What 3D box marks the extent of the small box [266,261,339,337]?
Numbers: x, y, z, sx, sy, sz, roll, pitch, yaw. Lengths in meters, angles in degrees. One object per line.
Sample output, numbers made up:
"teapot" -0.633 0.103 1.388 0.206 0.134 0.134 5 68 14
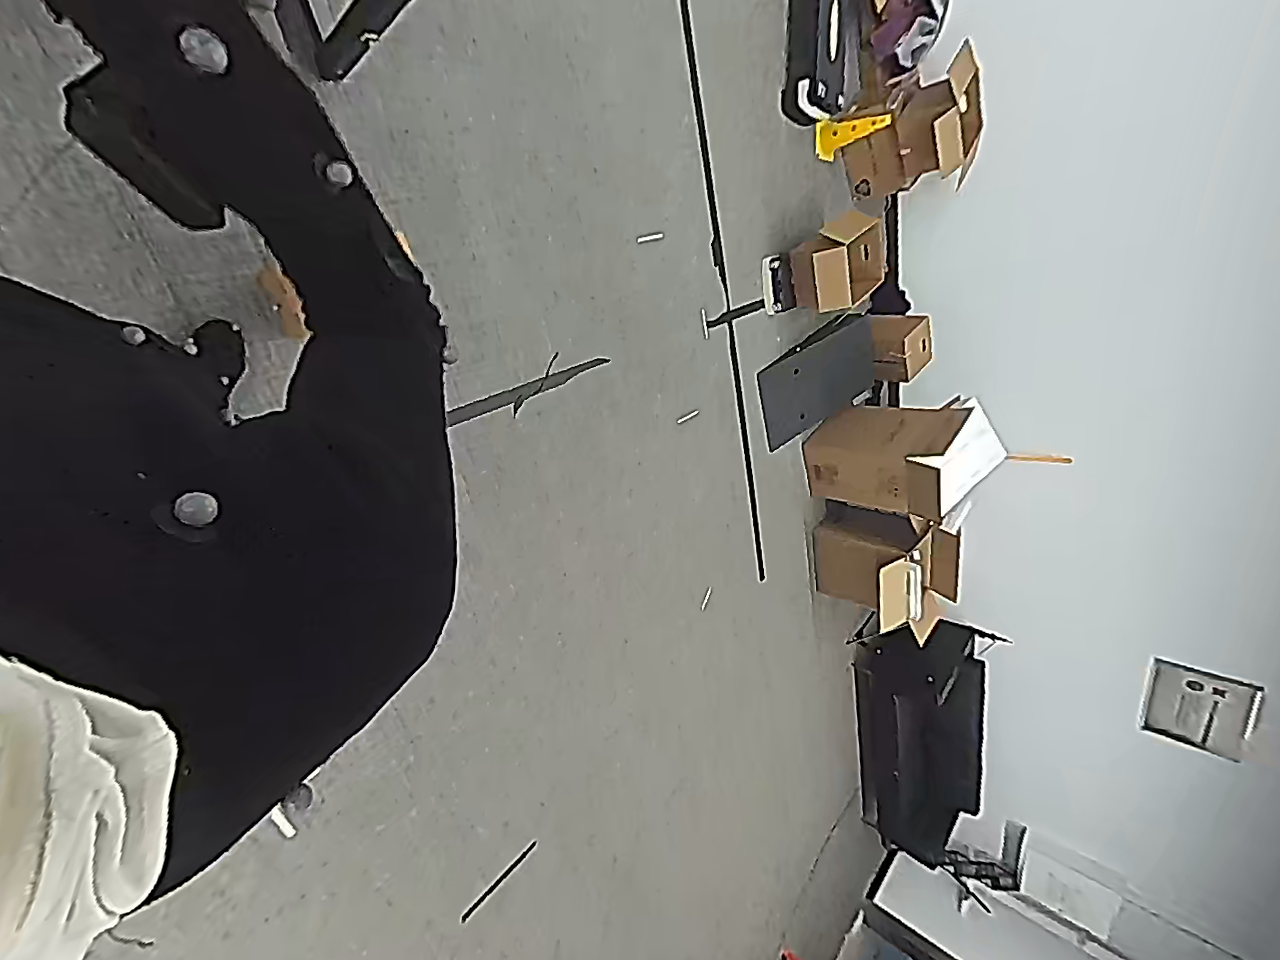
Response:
"small box" -0.799 -0.464 1.363 0.179 0.176 0.168 -33 121 -35
